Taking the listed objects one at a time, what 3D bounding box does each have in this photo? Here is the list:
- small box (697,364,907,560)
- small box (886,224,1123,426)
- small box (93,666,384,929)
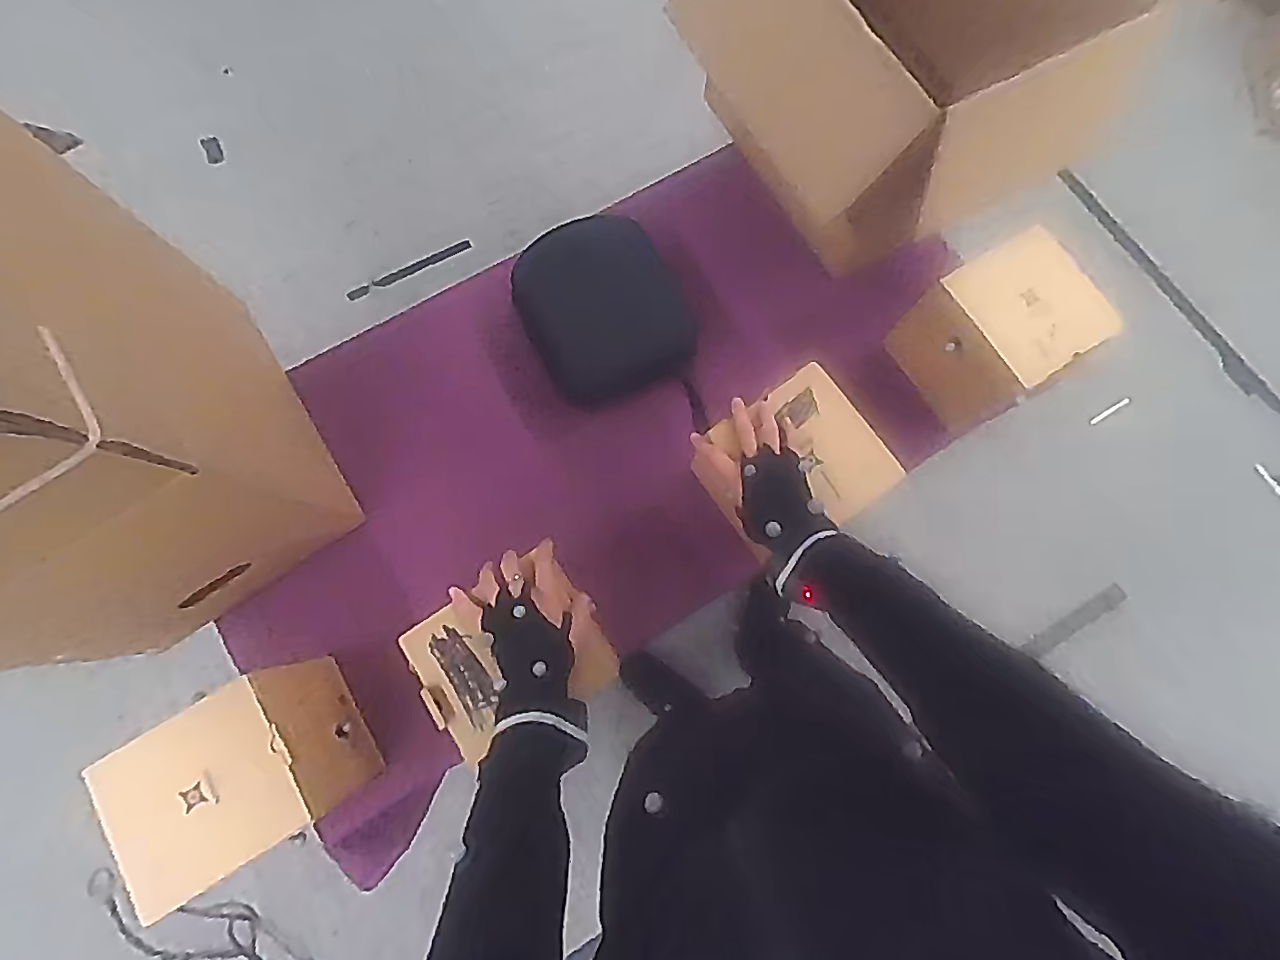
[{"bbox_3d":[0.192,-0.011,0.703,0.168,0.176,0.179,-34,82,-8],"label":"small box"},{"bbox_3d":[0.483,-0.203,0.751,0.168,0.176,0.179,-31,79,-6],"label":"small box"},{"bbox_3d":[-0.433,0.334,0.614,0.179,0.176,0.168,-32,80,-9],"label":"small box"}]
